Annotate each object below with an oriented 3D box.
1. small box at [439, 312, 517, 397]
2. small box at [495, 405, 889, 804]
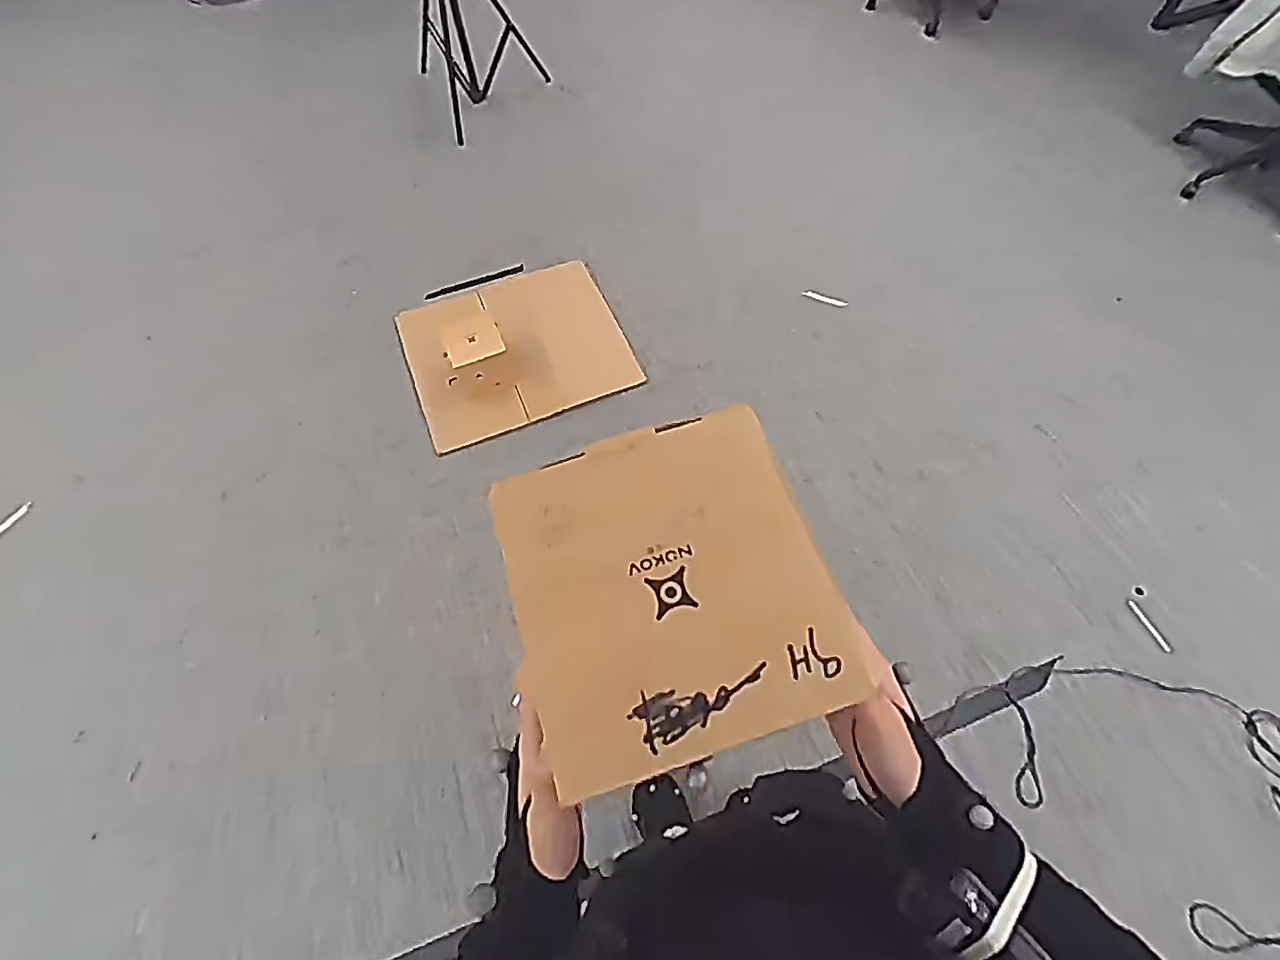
[{"bbox_3d":[-0.501,-0.383,1.692,0.168,0.176,0.179,-23,66,-11],"label":"small box"},{"bbox_3d":[0.023,0.085,0.357,0.168,0.176,0.179,-19,65,-2],"label":"small box"}]
